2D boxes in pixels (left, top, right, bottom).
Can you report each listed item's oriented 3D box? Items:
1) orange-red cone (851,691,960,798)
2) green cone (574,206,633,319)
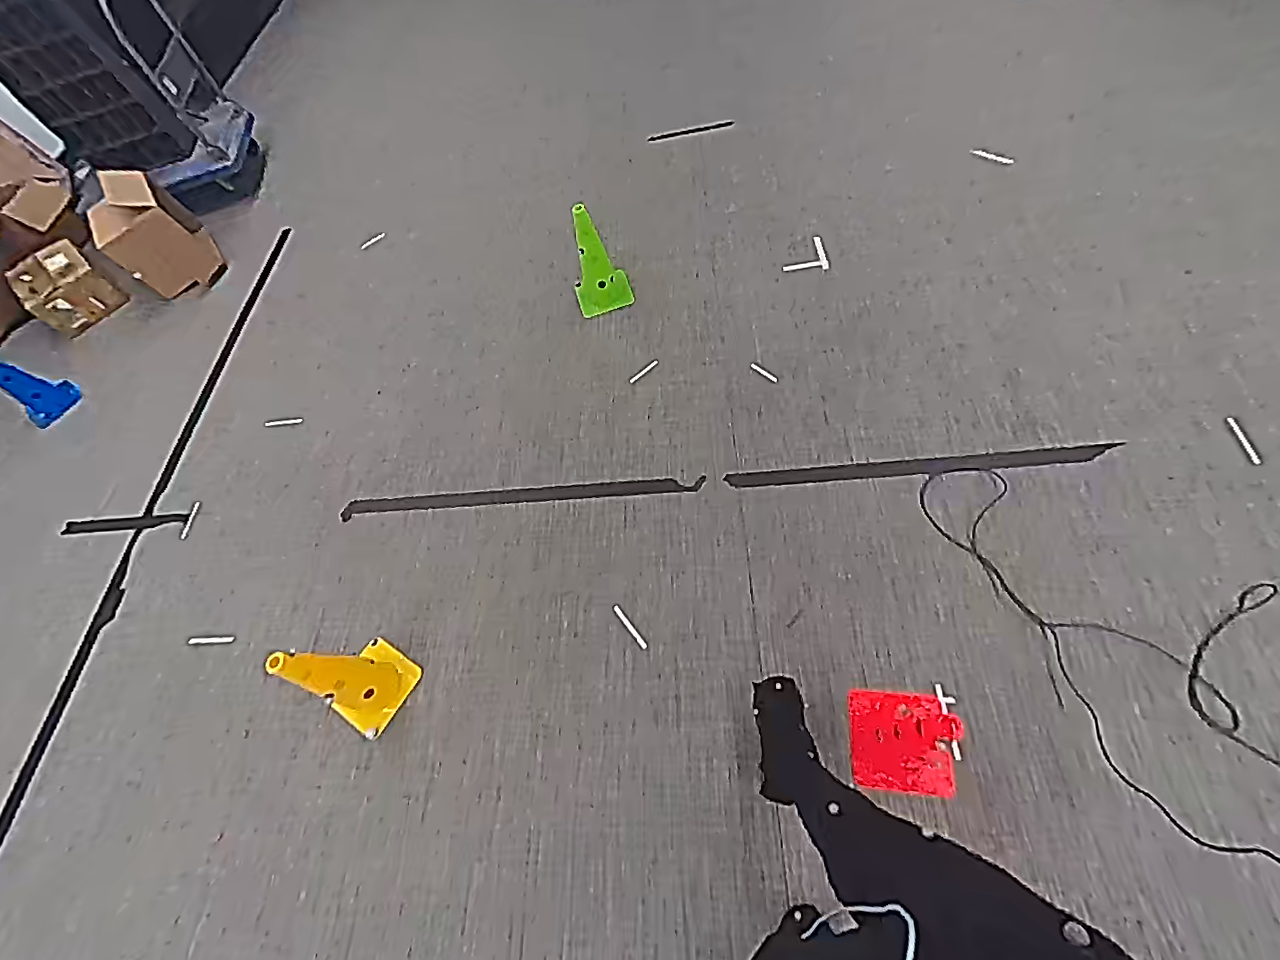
[{"bbox_3d":[0.534,0.484,1.029,0.199,0.360,0.198,0,60,14],"label":"orange-red cone"},{"bbox_3d":[-0.168,-0.782,1.899,0.202,0.368,0.200,-18,59,0],"label":"green cone"}]
